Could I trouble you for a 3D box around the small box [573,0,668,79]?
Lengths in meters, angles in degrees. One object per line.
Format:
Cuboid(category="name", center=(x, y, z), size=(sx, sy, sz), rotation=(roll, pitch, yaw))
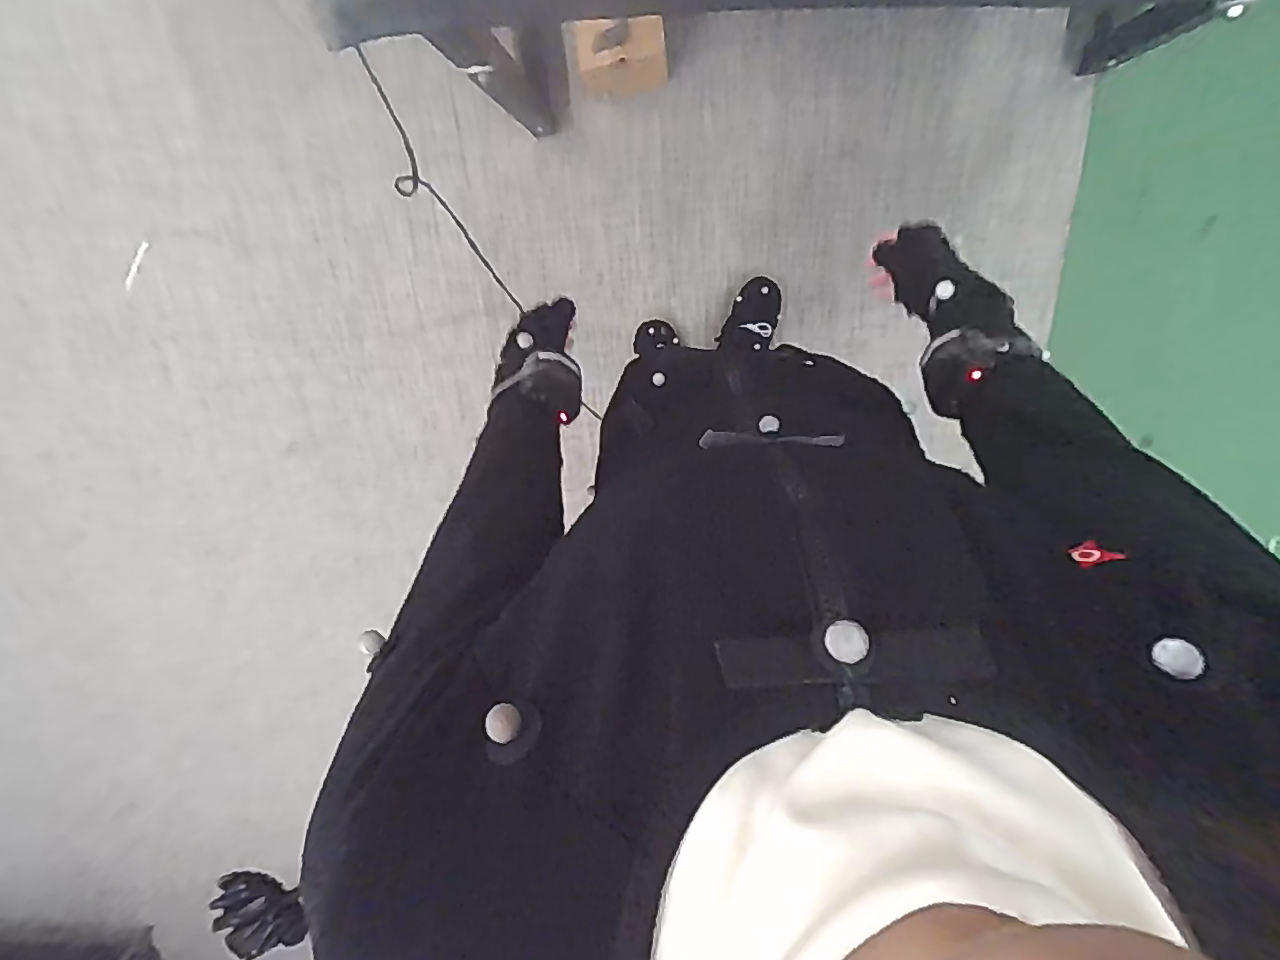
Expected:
Cuboid(category="small box", center=(-0.036, -0.905, 1.045), size=(0.168, 0.176, 0.179), rotation=(-6, 111, 6))
